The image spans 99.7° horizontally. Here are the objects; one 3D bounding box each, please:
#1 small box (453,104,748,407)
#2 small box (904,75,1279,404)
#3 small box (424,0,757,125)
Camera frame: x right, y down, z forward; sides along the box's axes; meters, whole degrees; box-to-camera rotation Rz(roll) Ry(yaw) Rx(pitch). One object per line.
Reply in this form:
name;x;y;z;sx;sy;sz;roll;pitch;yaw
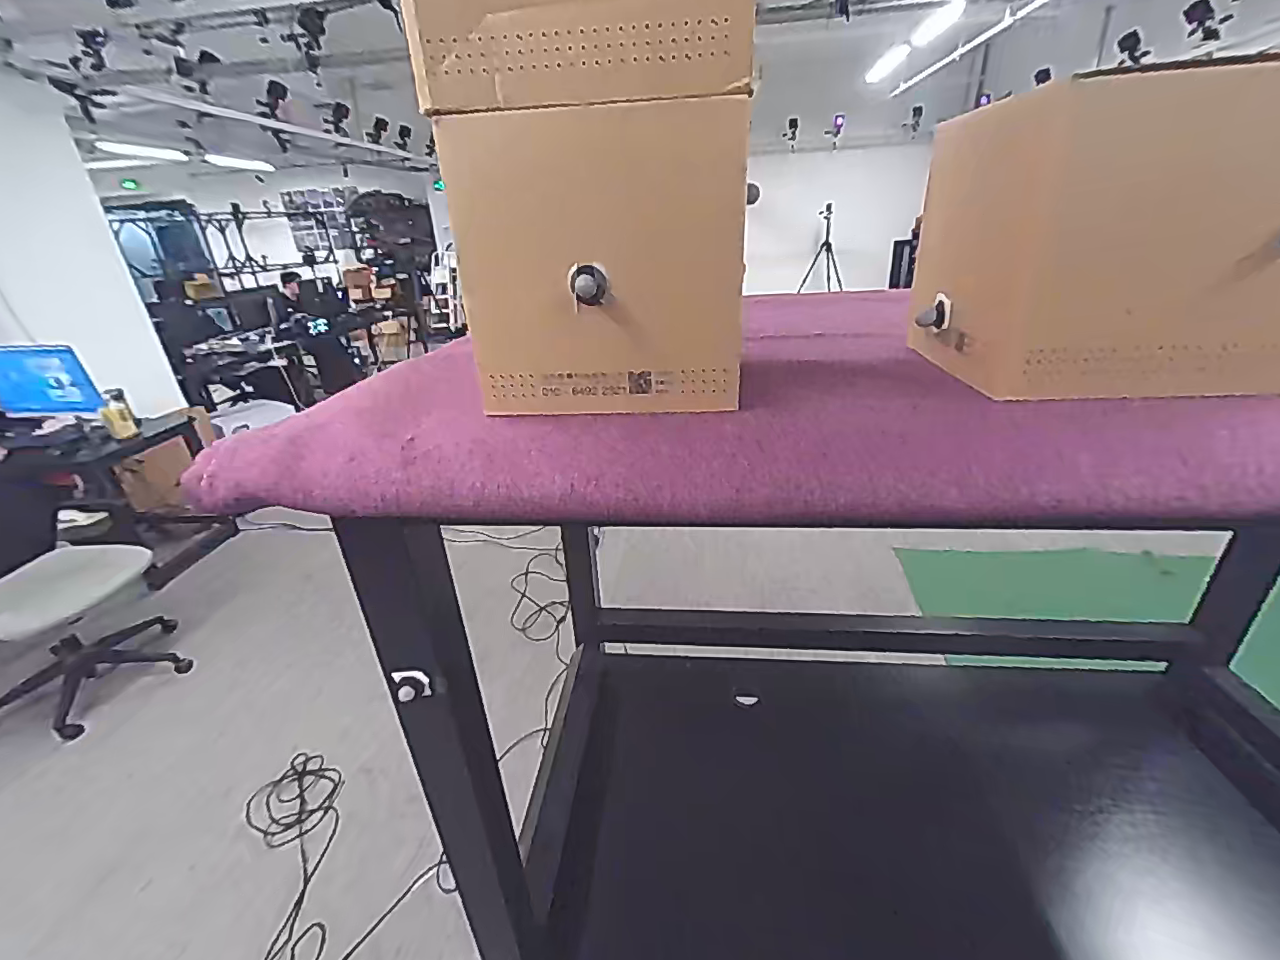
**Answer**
small box;-0.013;-0.156;0.397;0.168;0.176;0.179;1;25;5
small box;0.308;-0.155;0.372;0.179;0.176;0.168;-1;24;6
small box;-0.025;-0.302;0.326;0.179;0.176;0.168;0;26;3
